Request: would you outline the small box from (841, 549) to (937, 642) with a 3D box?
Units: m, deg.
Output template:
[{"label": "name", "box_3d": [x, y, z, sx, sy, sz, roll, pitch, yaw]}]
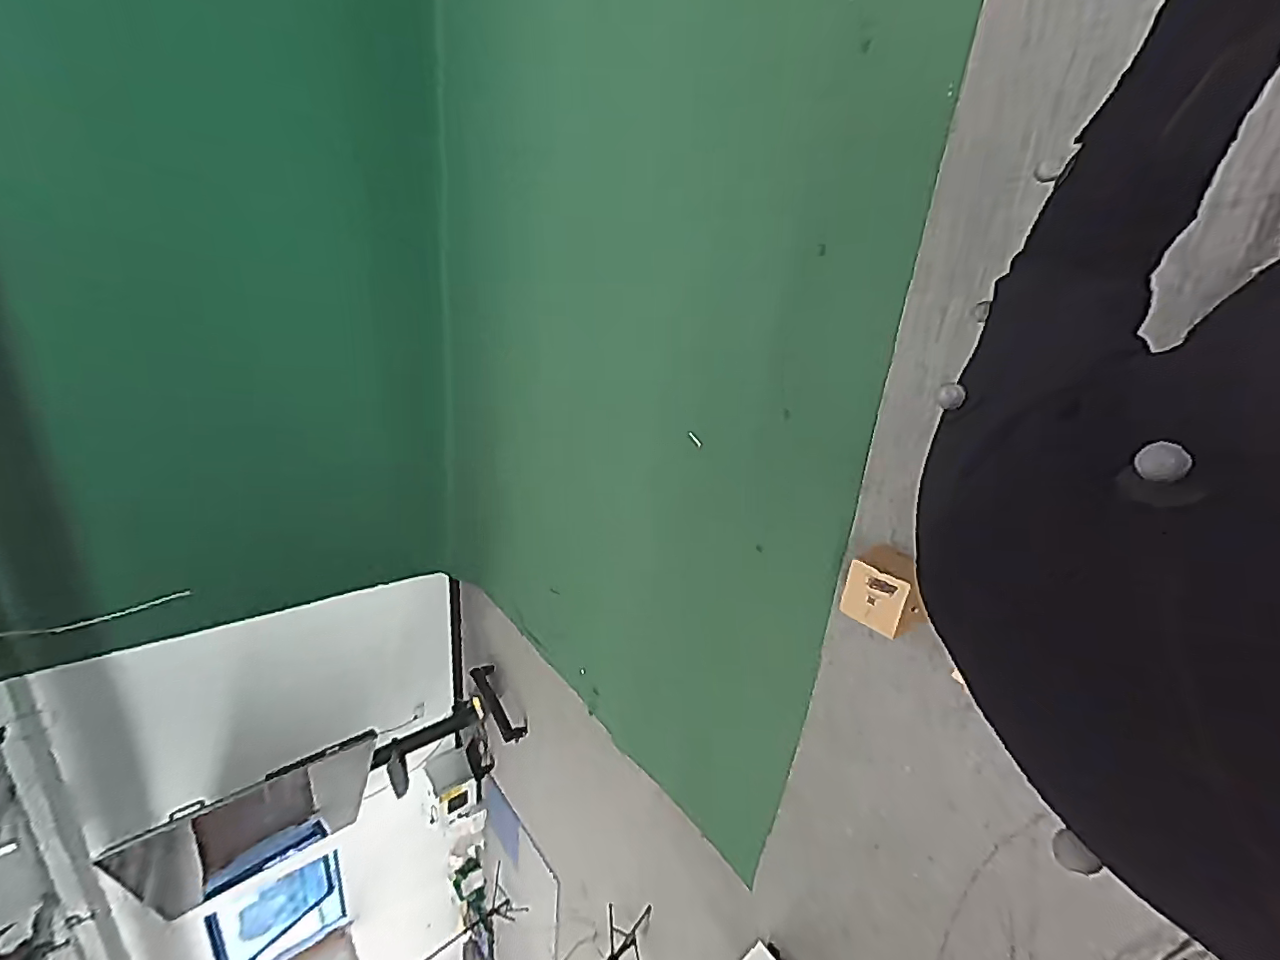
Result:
[{"label": "small box", "box_3d": [0.695, 0.311, 1.504, 0.168, 0.176, 0.179, 28, 120, 44]}]
